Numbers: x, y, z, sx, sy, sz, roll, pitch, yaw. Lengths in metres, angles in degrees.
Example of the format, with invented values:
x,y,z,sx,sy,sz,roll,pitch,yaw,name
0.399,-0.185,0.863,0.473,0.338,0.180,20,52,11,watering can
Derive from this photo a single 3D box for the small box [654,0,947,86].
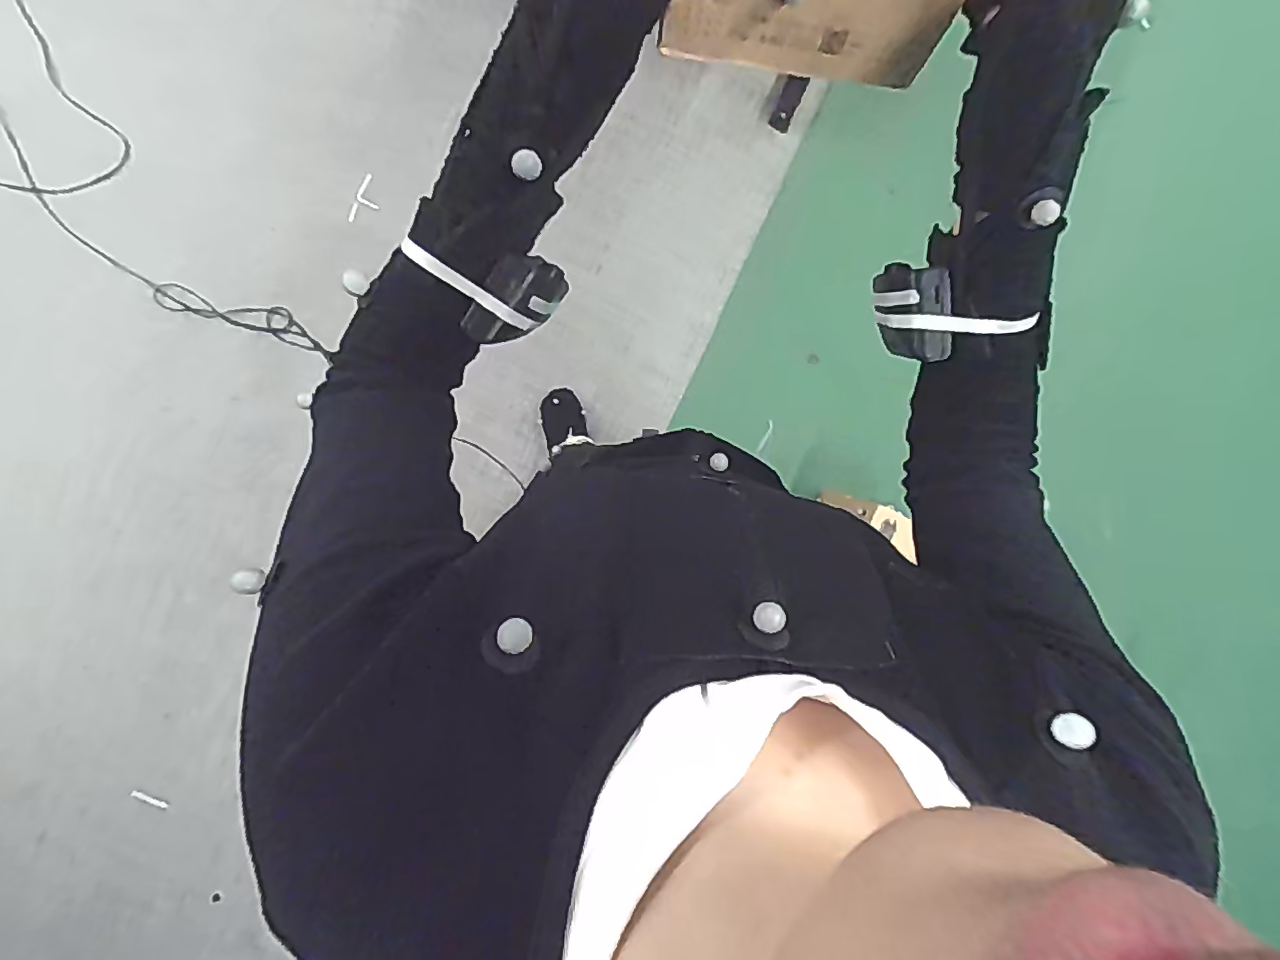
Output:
x,y,z,sx,sy,sz,roll,pitch,yaw,name
0.099,-0.359,0.281,0.168,0.176,0.179,4,81,-4,small box

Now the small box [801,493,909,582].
x,y,z,sx,sy,sz,roll,pitch,yaw,name
0.550,0.141,1.413,0.179,0.176,0.168,27,93,-3,small box
